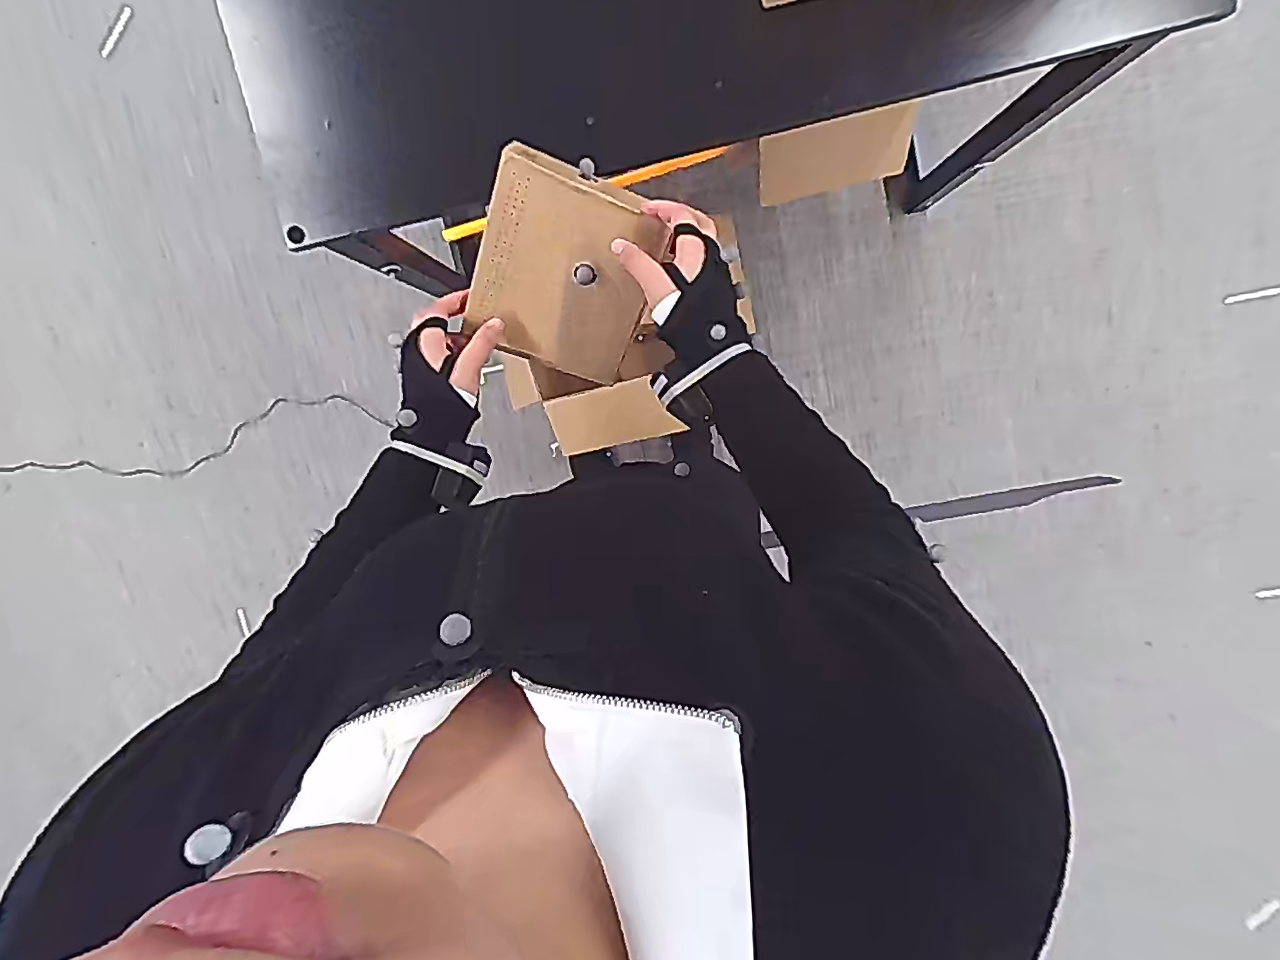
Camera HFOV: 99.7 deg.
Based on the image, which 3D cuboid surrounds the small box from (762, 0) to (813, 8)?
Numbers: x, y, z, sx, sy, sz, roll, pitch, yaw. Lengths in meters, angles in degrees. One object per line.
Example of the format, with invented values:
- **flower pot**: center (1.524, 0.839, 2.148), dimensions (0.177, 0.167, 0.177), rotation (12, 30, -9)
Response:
- **small box**: center (0.216, -0.652, 0.568), dimensions (0.179, 0.176, 0.168), rotation (-10, 97, 3)
